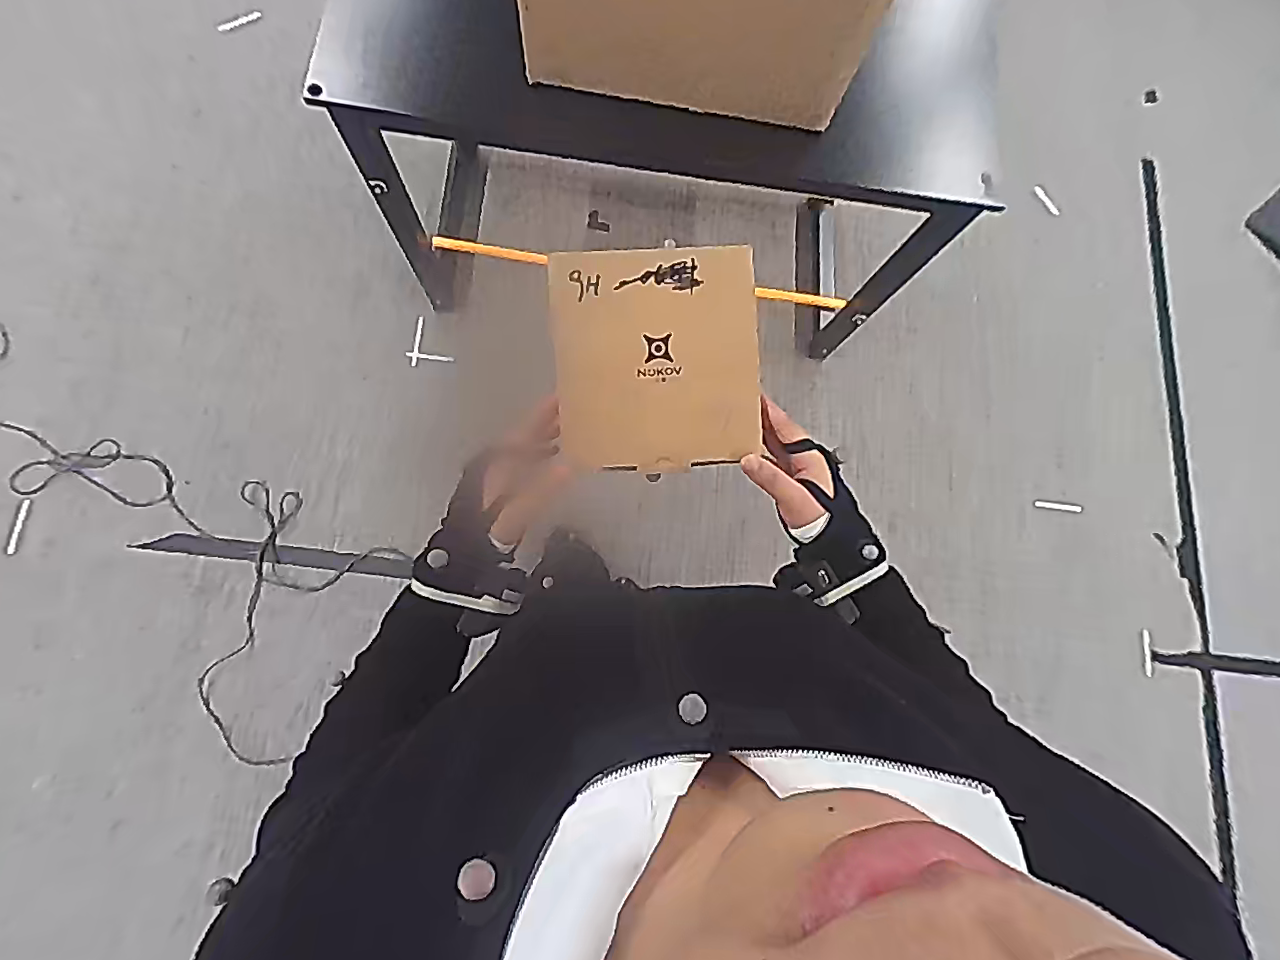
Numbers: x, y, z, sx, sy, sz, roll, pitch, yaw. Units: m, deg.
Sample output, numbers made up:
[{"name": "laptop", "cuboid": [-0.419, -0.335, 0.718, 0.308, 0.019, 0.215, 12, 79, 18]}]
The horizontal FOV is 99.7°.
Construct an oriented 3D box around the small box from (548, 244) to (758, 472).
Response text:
[{"name": "small box", "cuboid": [0.008, -0.105, 0.515, 0.168, 0.176, 0.179, -4, 94, -4]}]
